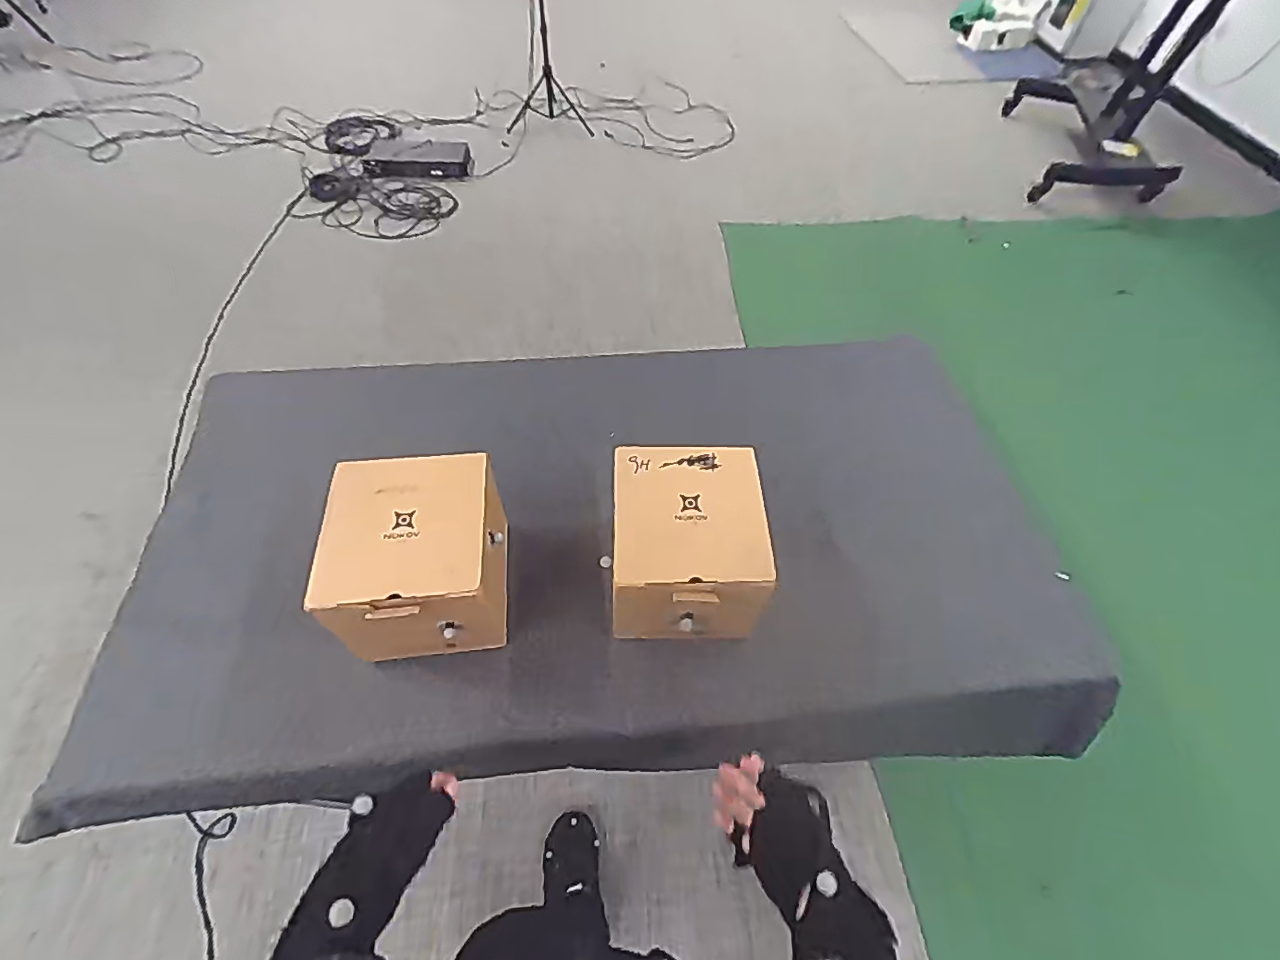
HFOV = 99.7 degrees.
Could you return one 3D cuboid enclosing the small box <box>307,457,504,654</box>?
[{"bbox_3d":[-0.257,0.096,0.642,0.168,0.176,0.179,-5,55,-7],"label":"small box"}]
